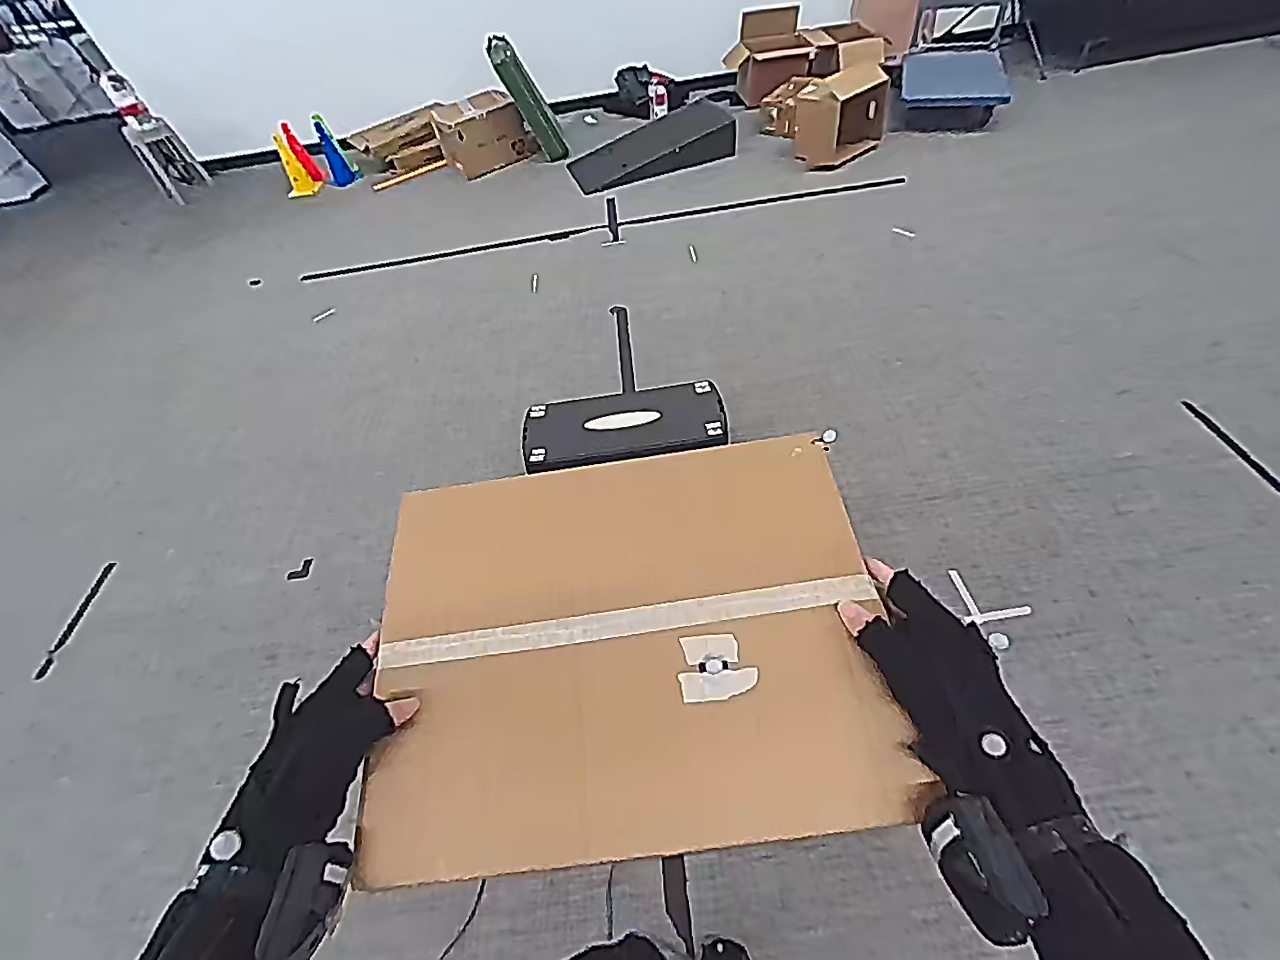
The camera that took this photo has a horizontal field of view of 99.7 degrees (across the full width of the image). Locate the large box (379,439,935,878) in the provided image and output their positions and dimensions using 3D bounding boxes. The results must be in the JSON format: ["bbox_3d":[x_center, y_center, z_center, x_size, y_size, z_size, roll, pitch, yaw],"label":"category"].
[{"bbox_3d":[0.006,0.196,0.579,0.408,0.320,0.320,-8,59,2],"label":"large box"}]

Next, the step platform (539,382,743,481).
[{"bbox_3d":[0.001,-0.137,1.841,0.684,0.204,0.286,-8,51,1],"label":"step platform"}]
